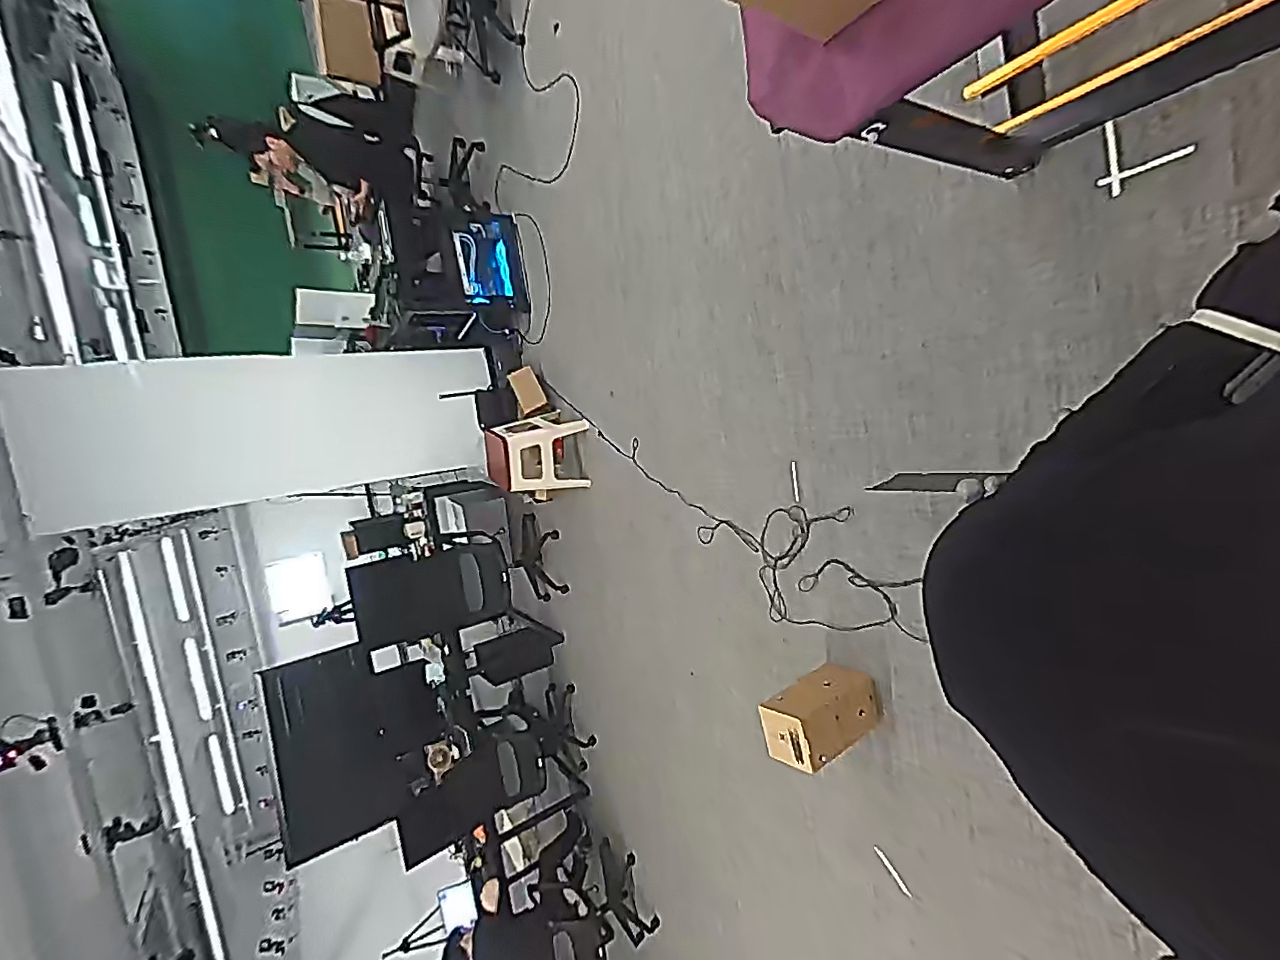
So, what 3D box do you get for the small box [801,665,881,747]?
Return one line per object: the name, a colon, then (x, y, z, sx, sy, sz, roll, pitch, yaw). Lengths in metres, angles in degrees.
small box: (0.650, 0.714, 1.733, 0.179, 0.176, 0.168, -3, 98, 58)
